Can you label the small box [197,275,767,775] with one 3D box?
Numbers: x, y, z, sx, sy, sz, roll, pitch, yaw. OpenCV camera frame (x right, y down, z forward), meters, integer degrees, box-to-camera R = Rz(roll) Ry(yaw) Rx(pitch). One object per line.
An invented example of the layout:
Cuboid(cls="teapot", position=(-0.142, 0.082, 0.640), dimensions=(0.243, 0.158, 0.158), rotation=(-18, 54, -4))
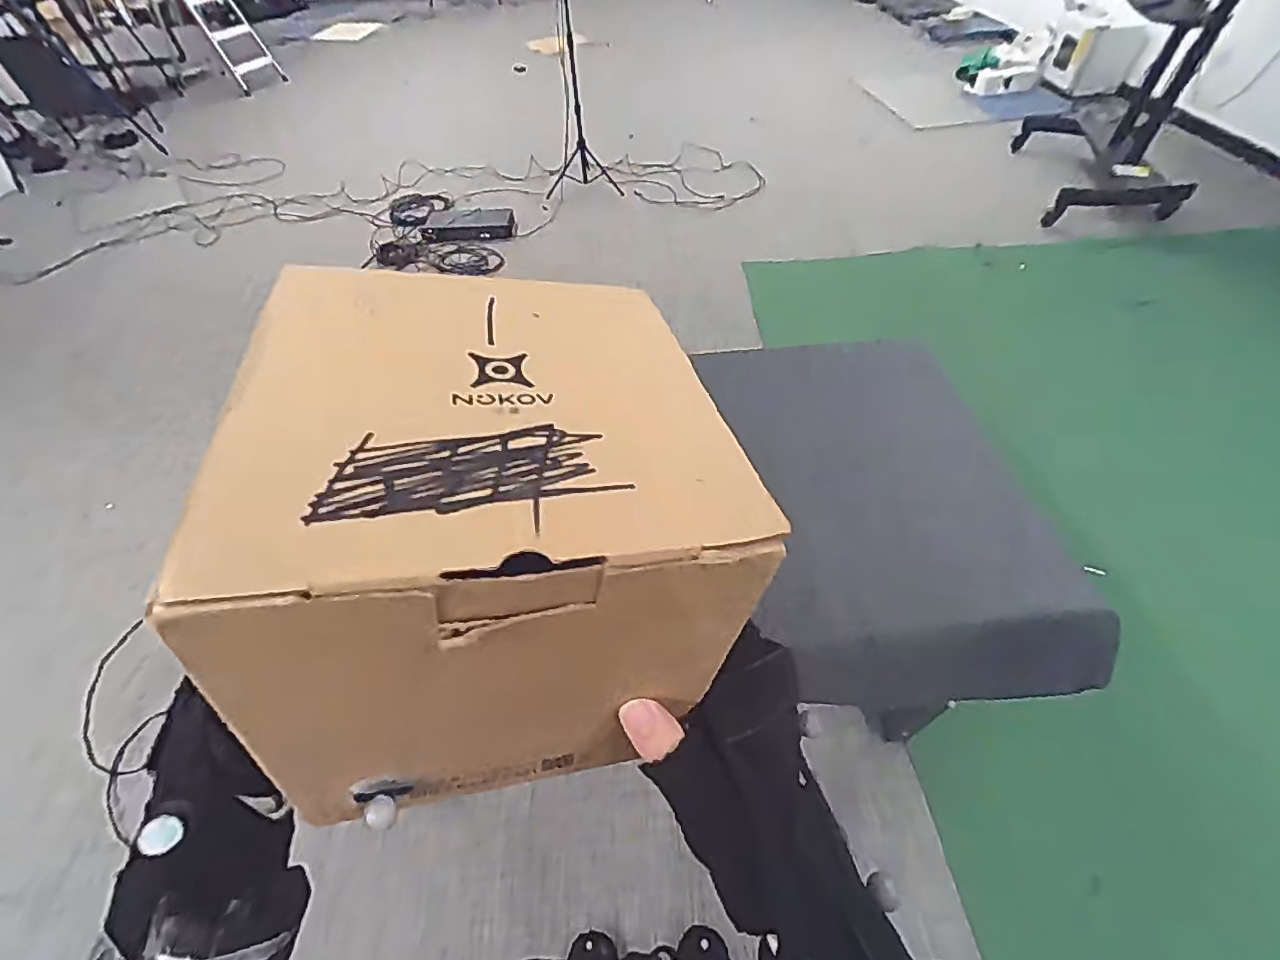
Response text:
Cuboid(cls="small box", position=(-0.068, 0.021, 0.266), dimensions=(0.168, 0.176, 0.179), rotation=(-2, 44, -19))
